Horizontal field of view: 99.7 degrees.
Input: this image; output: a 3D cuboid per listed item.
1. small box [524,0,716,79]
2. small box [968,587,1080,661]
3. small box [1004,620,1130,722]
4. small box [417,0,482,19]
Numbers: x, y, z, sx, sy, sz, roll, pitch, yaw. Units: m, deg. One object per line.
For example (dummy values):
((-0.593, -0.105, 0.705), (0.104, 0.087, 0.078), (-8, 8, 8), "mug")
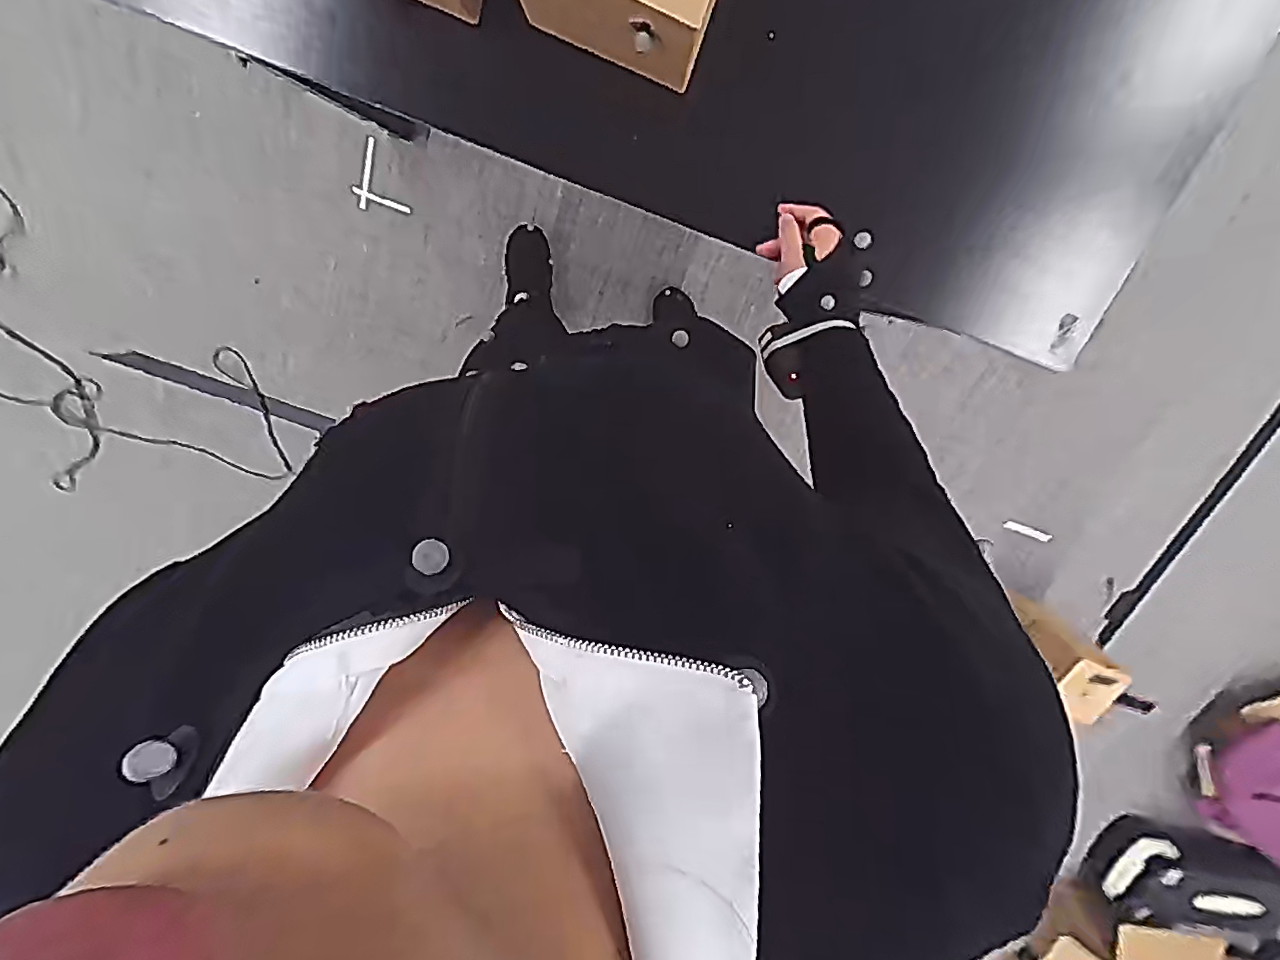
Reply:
((-0.003, -0.484, 0.464), (0.179, 0.176, 0.168), (19, 110, -8), "small box")
((1.136, 0.445, 1.617), (0.179, 0.176, 0.168), (21, 110, -7), "small box")
((1.142, 0.510, 1.464), (0.168, 0.176, 0.179), (20, 111, -8), "small box")
((-0.215, -0.541, 0.443), (0.168, 0.176, 0.179), (18, 111, -6), "small box")
